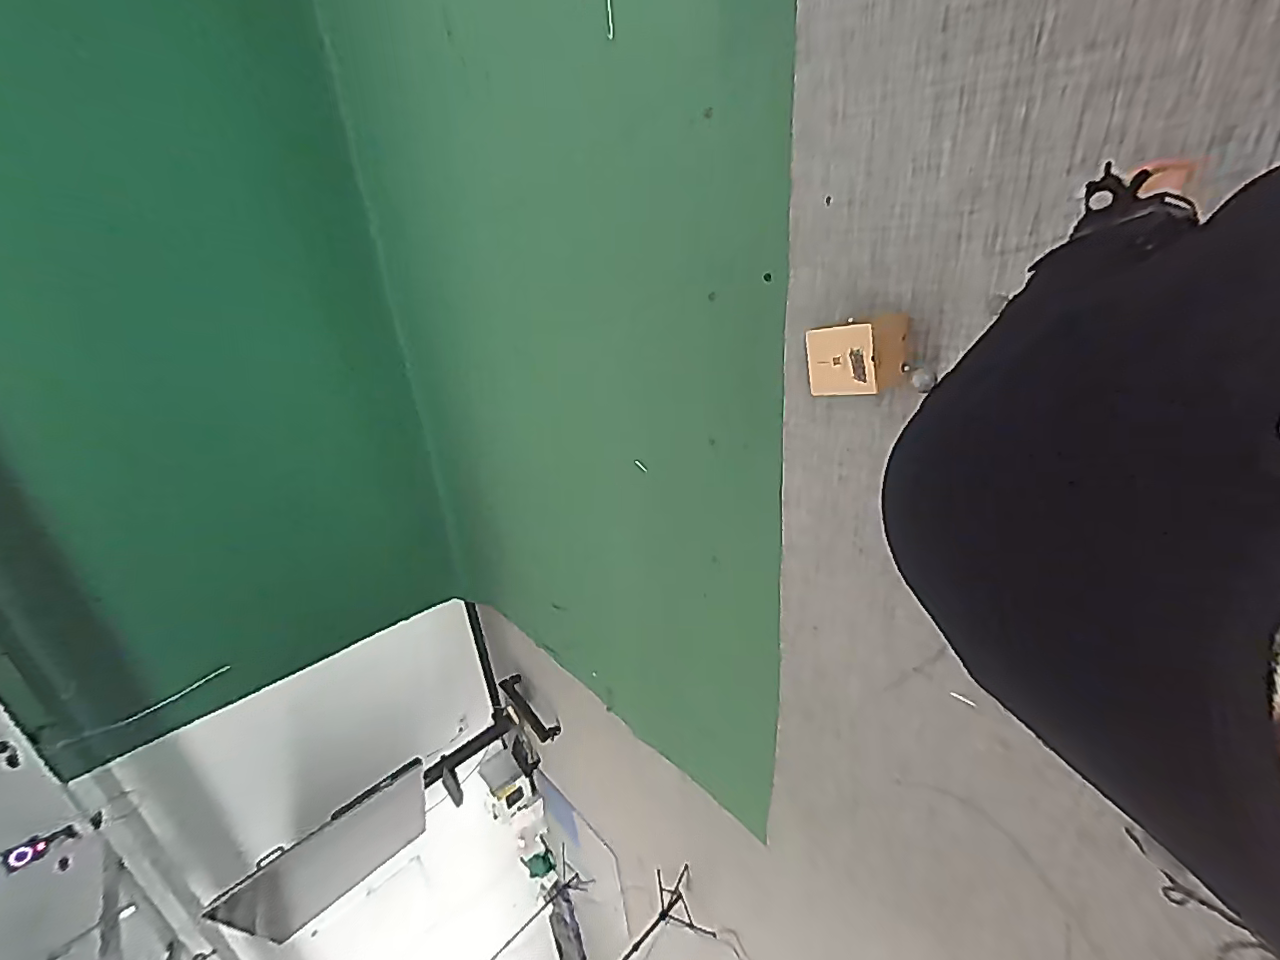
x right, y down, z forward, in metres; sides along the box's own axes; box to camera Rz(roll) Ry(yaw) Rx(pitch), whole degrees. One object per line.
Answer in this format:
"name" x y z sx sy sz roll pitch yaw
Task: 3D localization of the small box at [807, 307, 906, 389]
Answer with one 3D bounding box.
"small box" 0.544 -0.327 1.345 0.179 0.176 0.168 9 116 50
